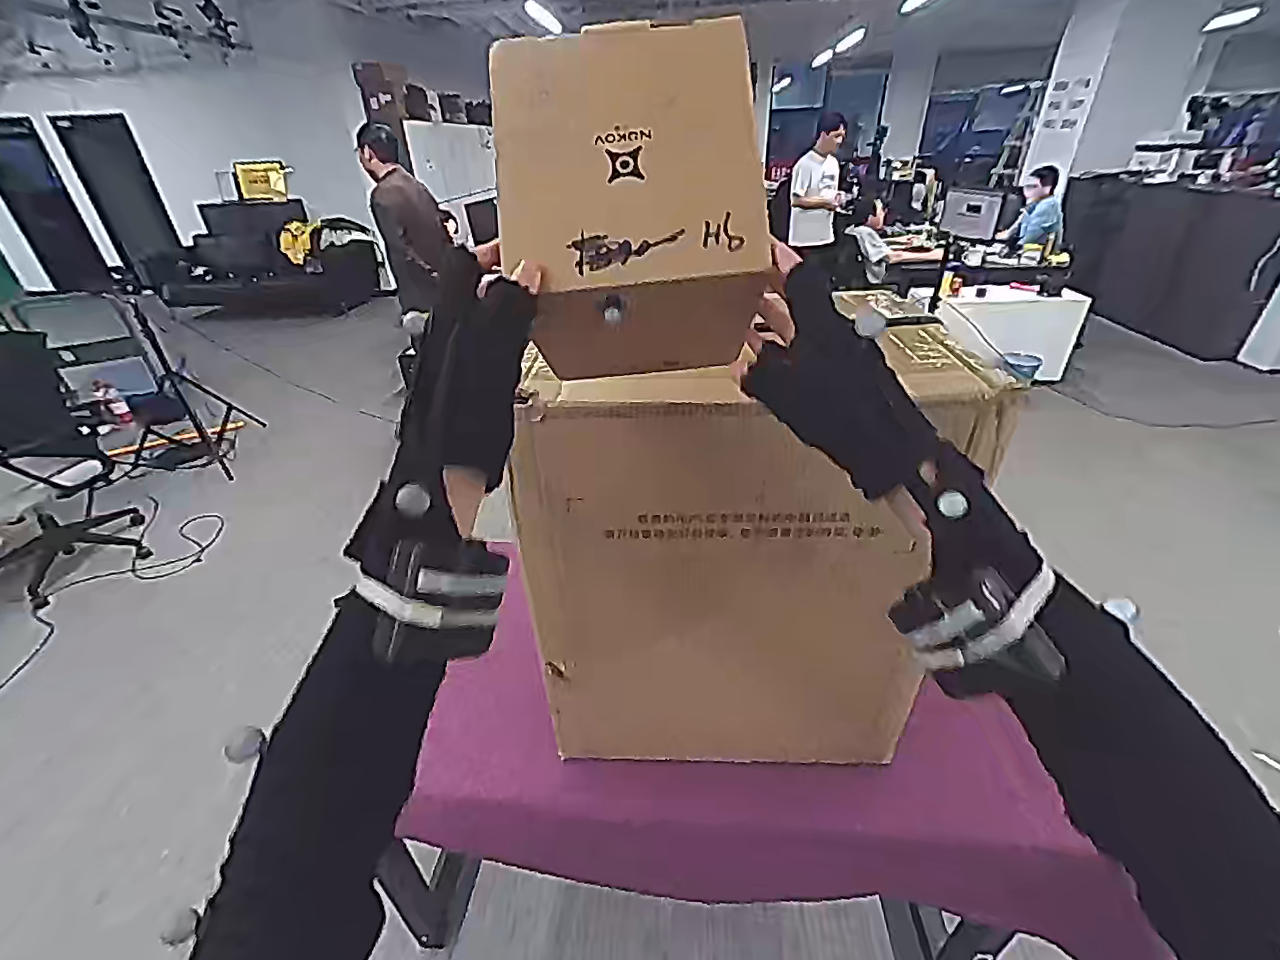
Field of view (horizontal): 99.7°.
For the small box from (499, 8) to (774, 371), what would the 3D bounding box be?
[{"bbox_3d":[-0.003,-0.202,0.418,0.168,0.179,0.176,-5,-10,2],"label":"small box"}]
